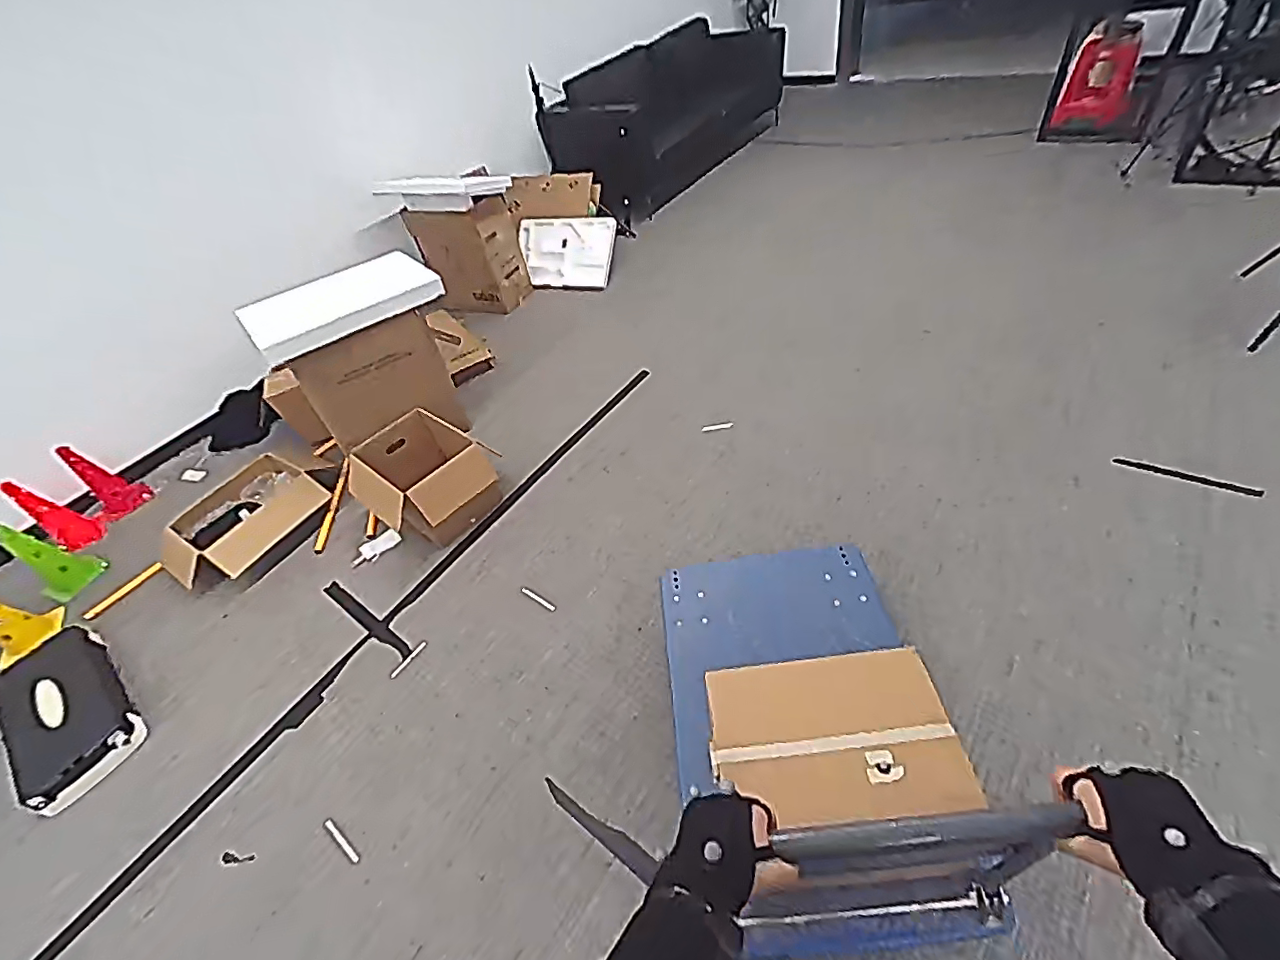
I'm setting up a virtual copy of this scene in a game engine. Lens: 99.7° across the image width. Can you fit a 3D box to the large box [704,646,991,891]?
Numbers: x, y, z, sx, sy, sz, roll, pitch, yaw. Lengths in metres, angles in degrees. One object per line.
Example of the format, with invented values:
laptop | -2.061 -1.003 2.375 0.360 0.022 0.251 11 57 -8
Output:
large box | 0.351 0.558 1.041 0.408 0.320 0.320 -8 46 3
